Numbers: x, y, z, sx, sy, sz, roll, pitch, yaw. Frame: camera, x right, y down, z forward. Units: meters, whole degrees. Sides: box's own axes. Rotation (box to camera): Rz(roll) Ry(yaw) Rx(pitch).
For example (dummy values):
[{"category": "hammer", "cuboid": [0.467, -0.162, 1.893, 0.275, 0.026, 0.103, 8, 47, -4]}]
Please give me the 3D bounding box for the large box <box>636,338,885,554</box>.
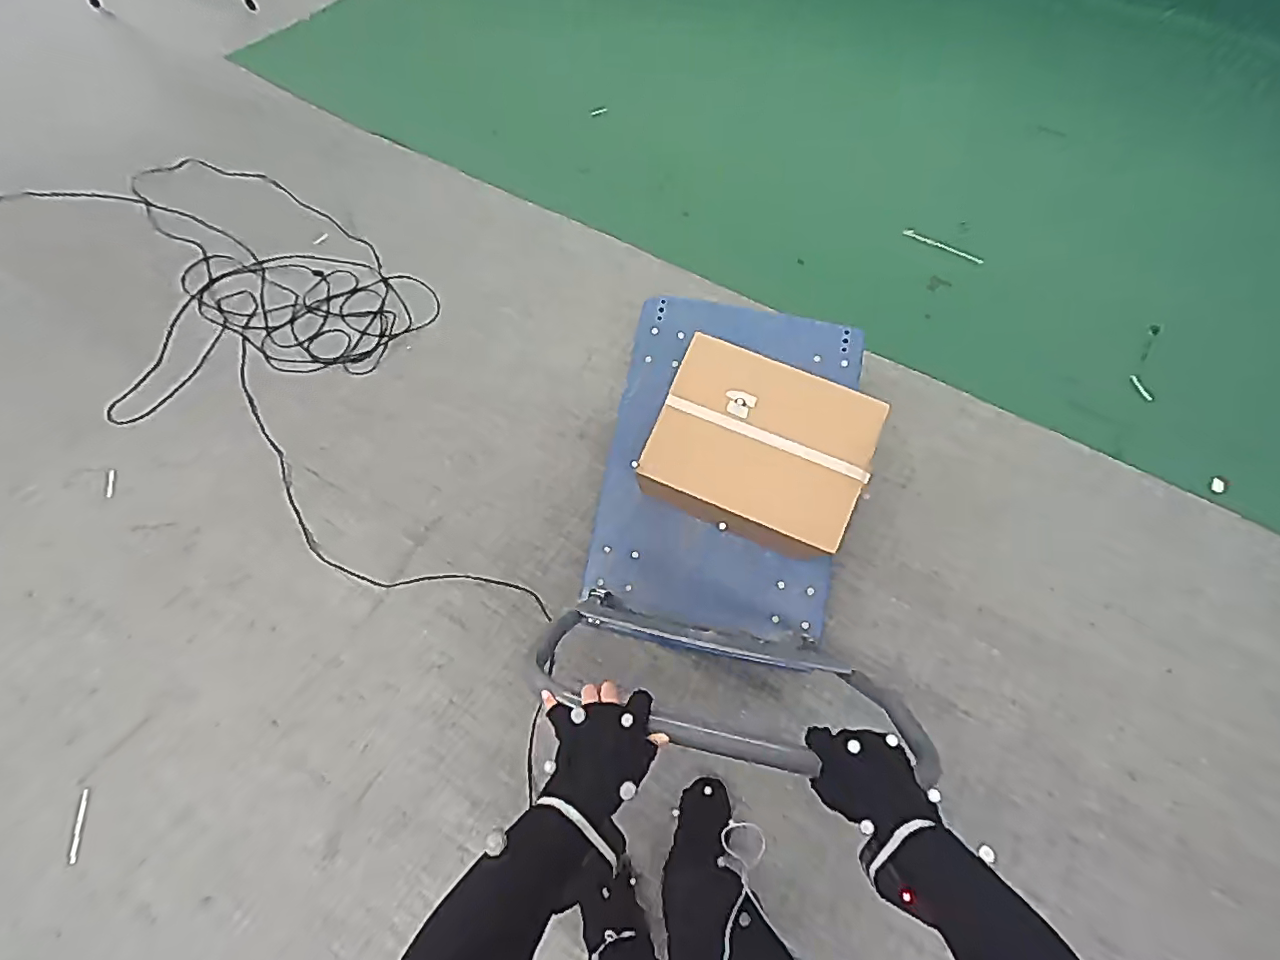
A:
[{"category": "large box", "cuboid": [0.243, -0.051, 1.182, 0.408, 0.320, 0.320, 23, 82, 7]}]
